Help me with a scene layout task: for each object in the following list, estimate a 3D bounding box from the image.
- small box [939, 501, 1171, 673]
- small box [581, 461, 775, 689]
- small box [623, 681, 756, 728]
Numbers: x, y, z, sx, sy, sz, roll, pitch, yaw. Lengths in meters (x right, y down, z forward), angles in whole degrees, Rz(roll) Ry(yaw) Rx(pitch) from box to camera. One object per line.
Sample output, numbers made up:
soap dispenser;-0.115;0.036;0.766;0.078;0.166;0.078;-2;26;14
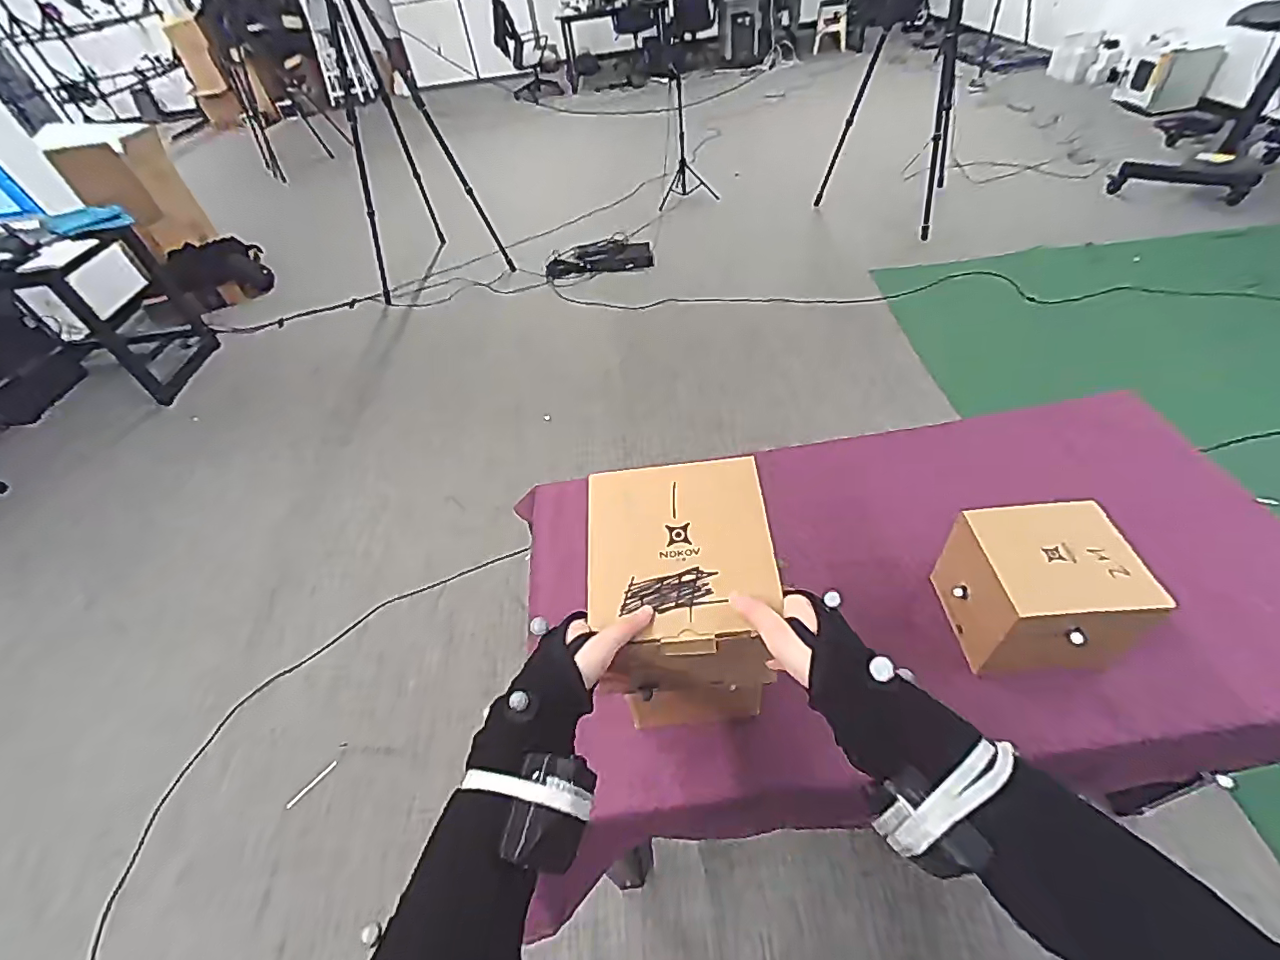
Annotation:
small box;0.533;0.150;0.735;0.179;0.176;0.168;-5;47;5
small box;0.040;0.107;0.555;0.168;0.176;0.179;-7;54;5
small box;0.061;0.227;0.749;0.179;0.176;0.168;-8;46;2
